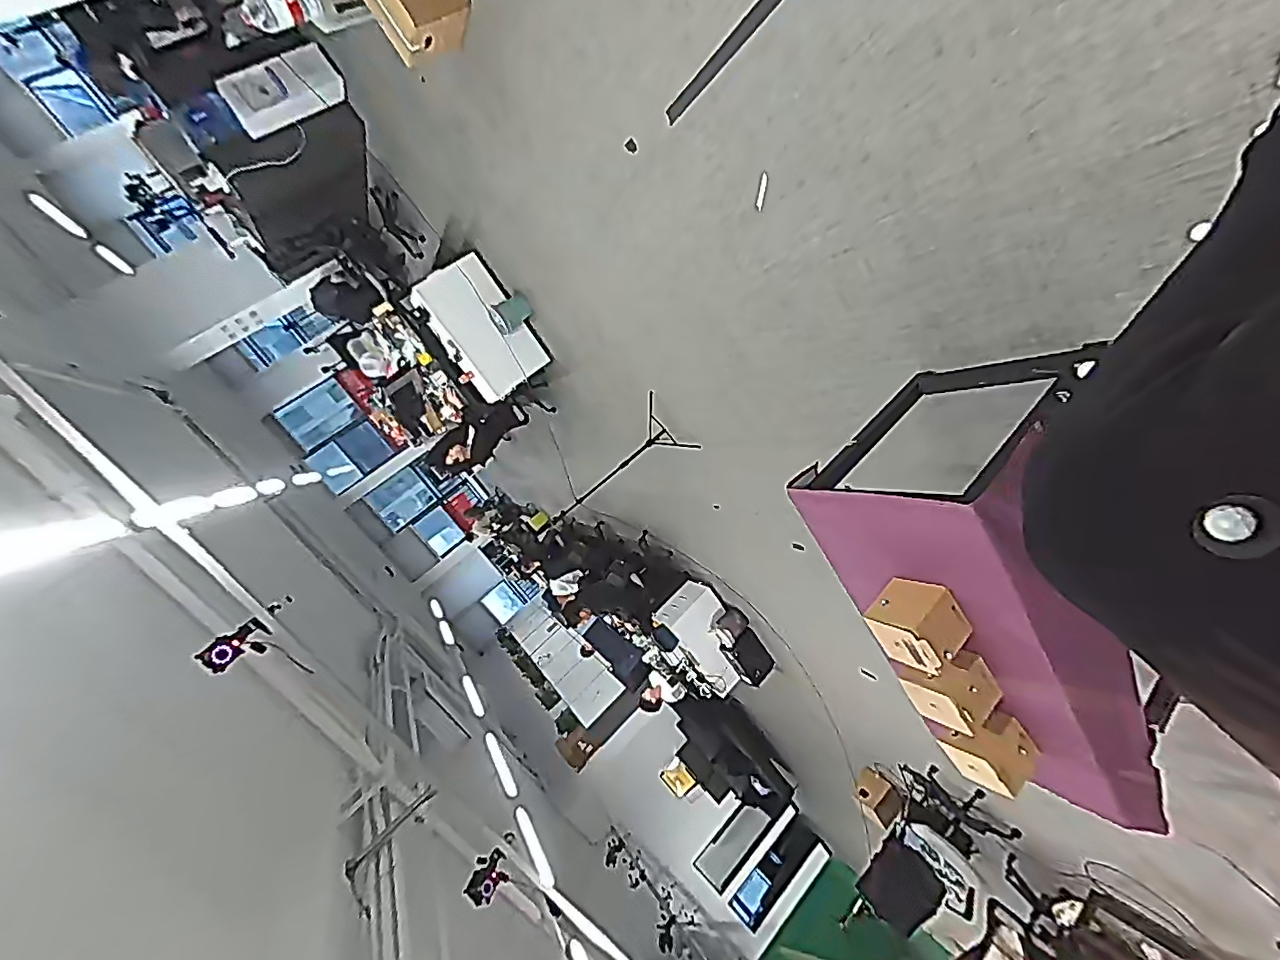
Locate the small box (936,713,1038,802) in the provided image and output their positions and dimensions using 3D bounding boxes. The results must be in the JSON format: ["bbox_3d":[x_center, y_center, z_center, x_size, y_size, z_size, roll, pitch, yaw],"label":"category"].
[{"bbox_3d":[1.065,0.829,1.659,0.168,0.176,0.179,52,161,-9],"label":"small box"}]

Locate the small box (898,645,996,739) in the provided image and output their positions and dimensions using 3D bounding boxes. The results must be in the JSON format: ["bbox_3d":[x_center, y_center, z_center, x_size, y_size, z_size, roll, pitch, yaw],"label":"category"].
[{"bbox_3d":[0.911,0.615,1.596,0.168,0.176,0.179,55,160,-15],"label":"small box"}]
